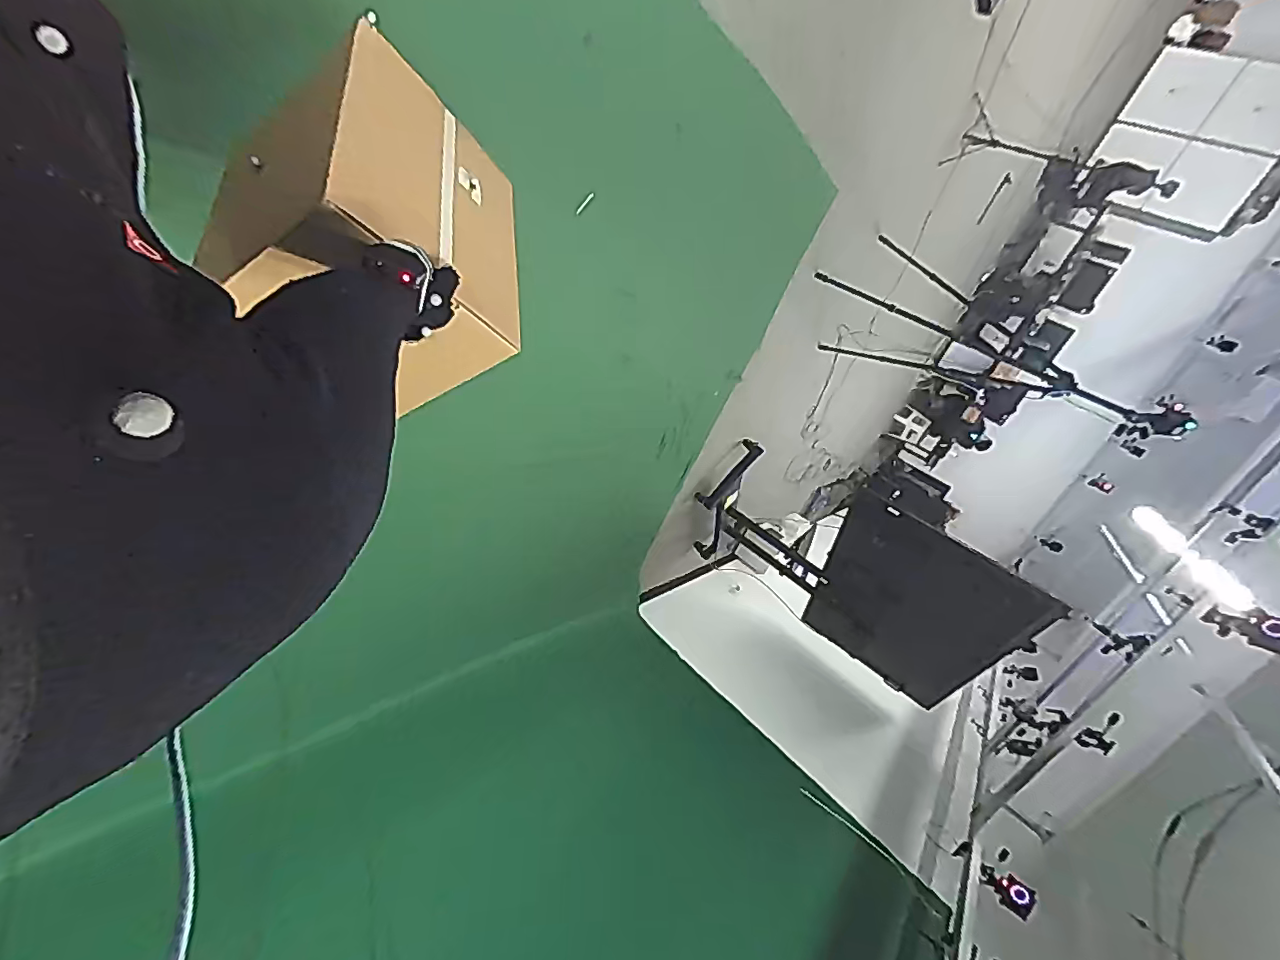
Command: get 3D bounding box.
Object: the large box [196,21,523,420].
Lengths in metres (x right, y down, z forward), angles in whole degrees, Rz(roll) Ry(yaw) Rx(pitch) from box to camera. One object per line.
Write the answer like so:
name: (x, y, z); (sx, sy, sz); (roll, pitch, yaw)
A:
large box: (-0.412, -0.371, 0.850); (0.320, 0.408, 0.320); (-22, 151, 22)
